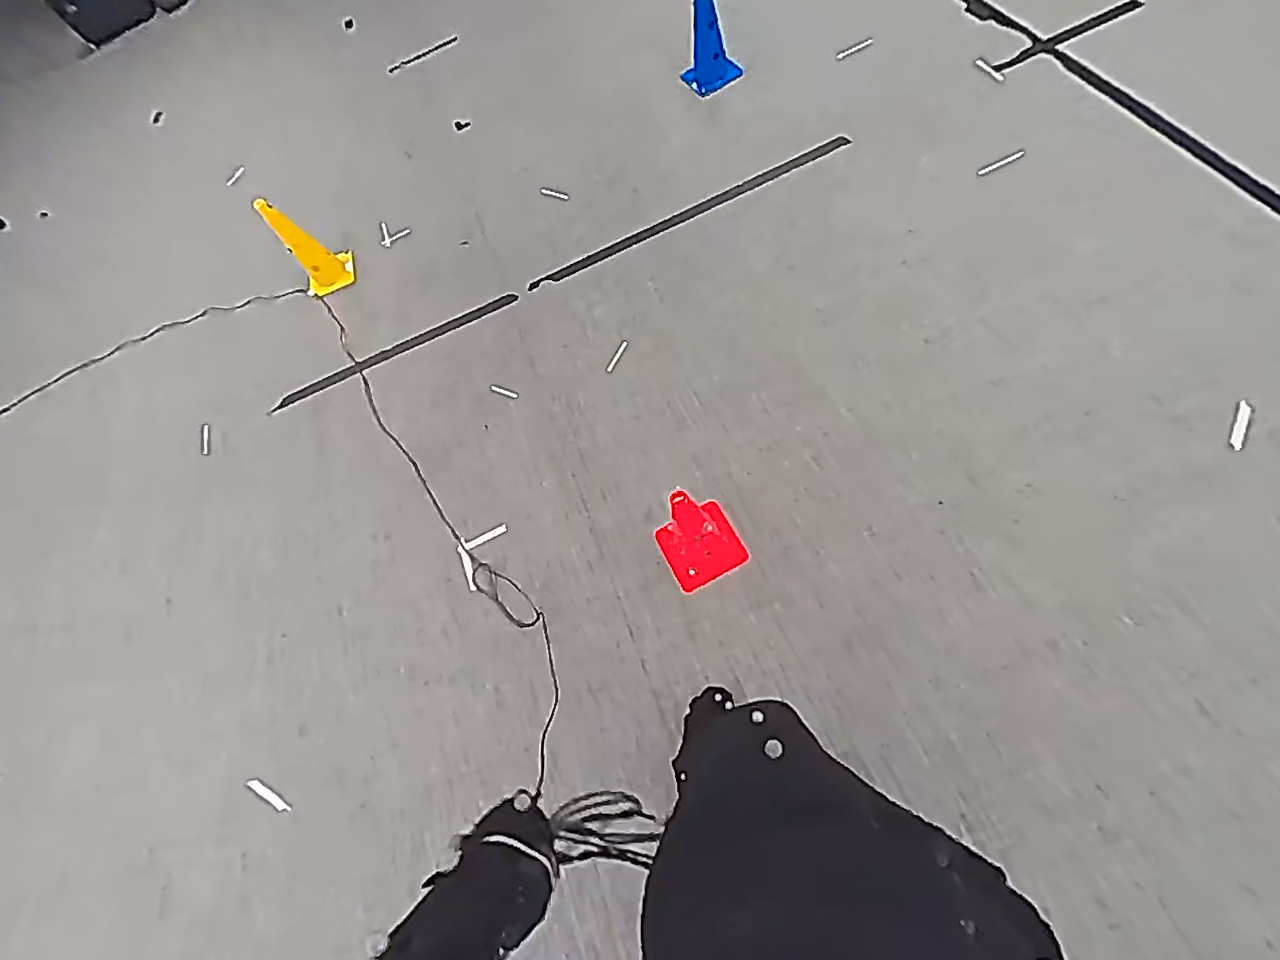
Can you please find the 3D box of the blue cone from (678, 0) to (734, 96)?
[{"bbox_3d":[0.227,-1.698,2.034,0.193,0.380,0.192,-29,63,1],"label":"blue cone"}]

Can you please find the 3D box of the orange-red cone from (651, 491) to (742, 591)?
[{"bbox_3d":[0.111,0.105,1.279,0.199,0.360,0.198,-28,64,0],"label":"orange-red cone"}]
